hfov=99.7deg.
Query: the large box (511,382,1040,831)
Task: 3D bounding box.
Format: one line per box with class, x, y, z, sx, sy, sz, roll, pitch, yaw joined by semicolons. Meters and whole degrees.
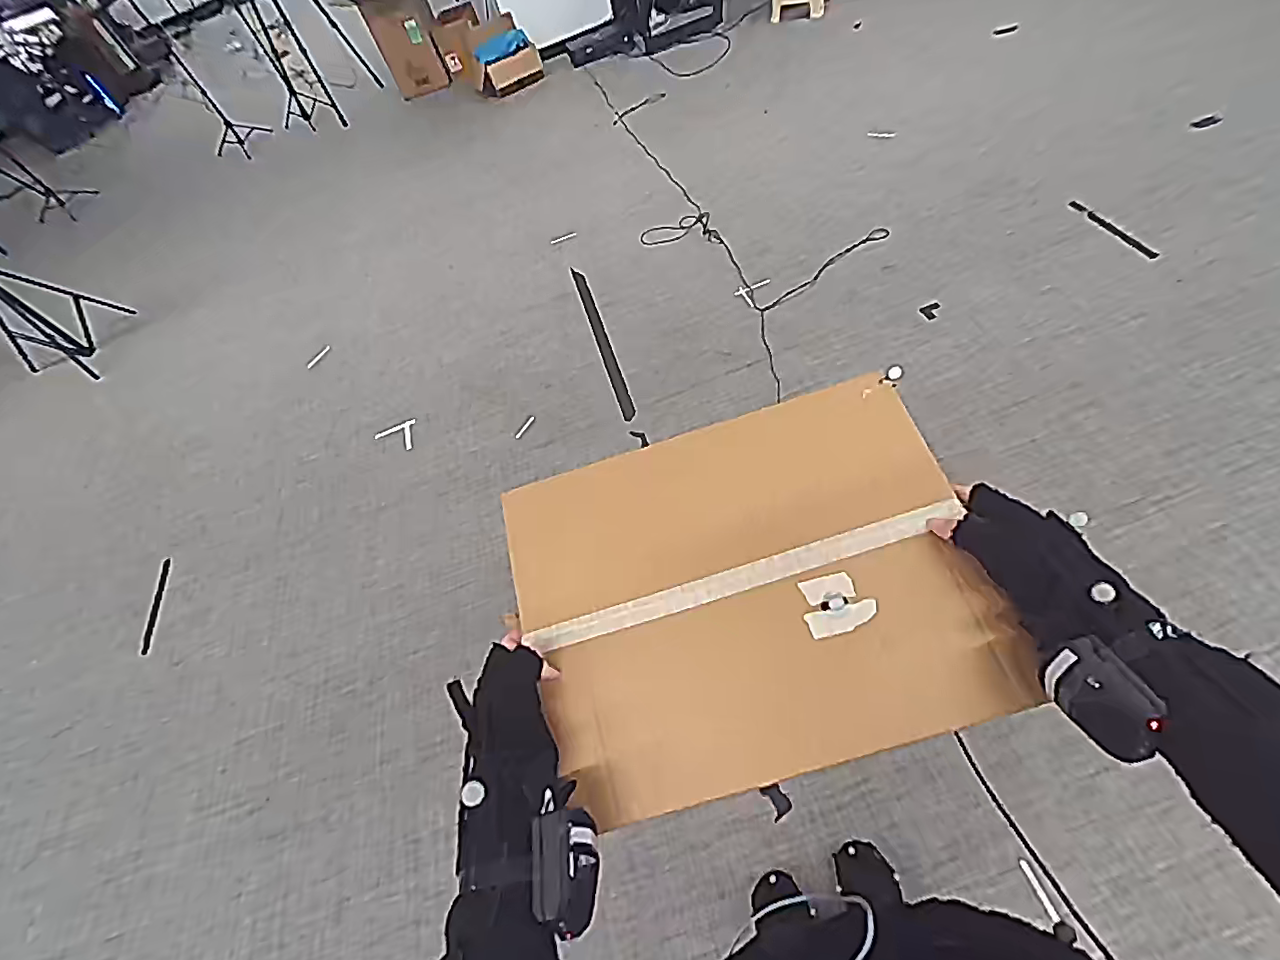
large box;0.114;0.152;0.629;0.408;0.320;0.320;-18;65;2
